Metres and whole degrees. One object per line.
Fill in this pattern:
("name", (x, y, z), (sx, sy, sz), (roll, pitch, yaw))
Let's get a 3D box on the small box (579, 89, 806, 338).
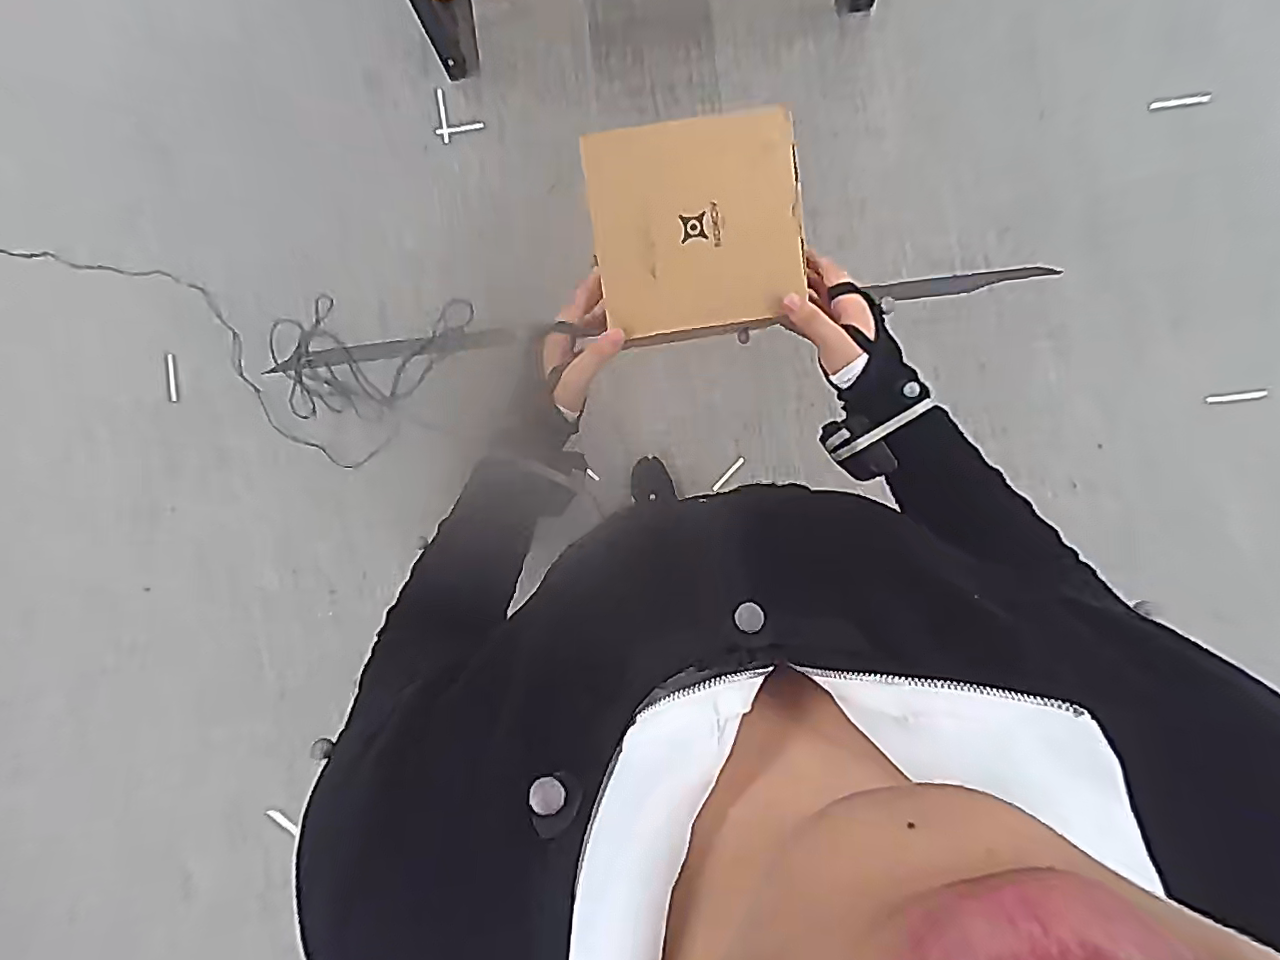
("small box", (0.045, -0.239, 0.530), (0.179, 0.176, 0.168), (-9, 100, 2))
